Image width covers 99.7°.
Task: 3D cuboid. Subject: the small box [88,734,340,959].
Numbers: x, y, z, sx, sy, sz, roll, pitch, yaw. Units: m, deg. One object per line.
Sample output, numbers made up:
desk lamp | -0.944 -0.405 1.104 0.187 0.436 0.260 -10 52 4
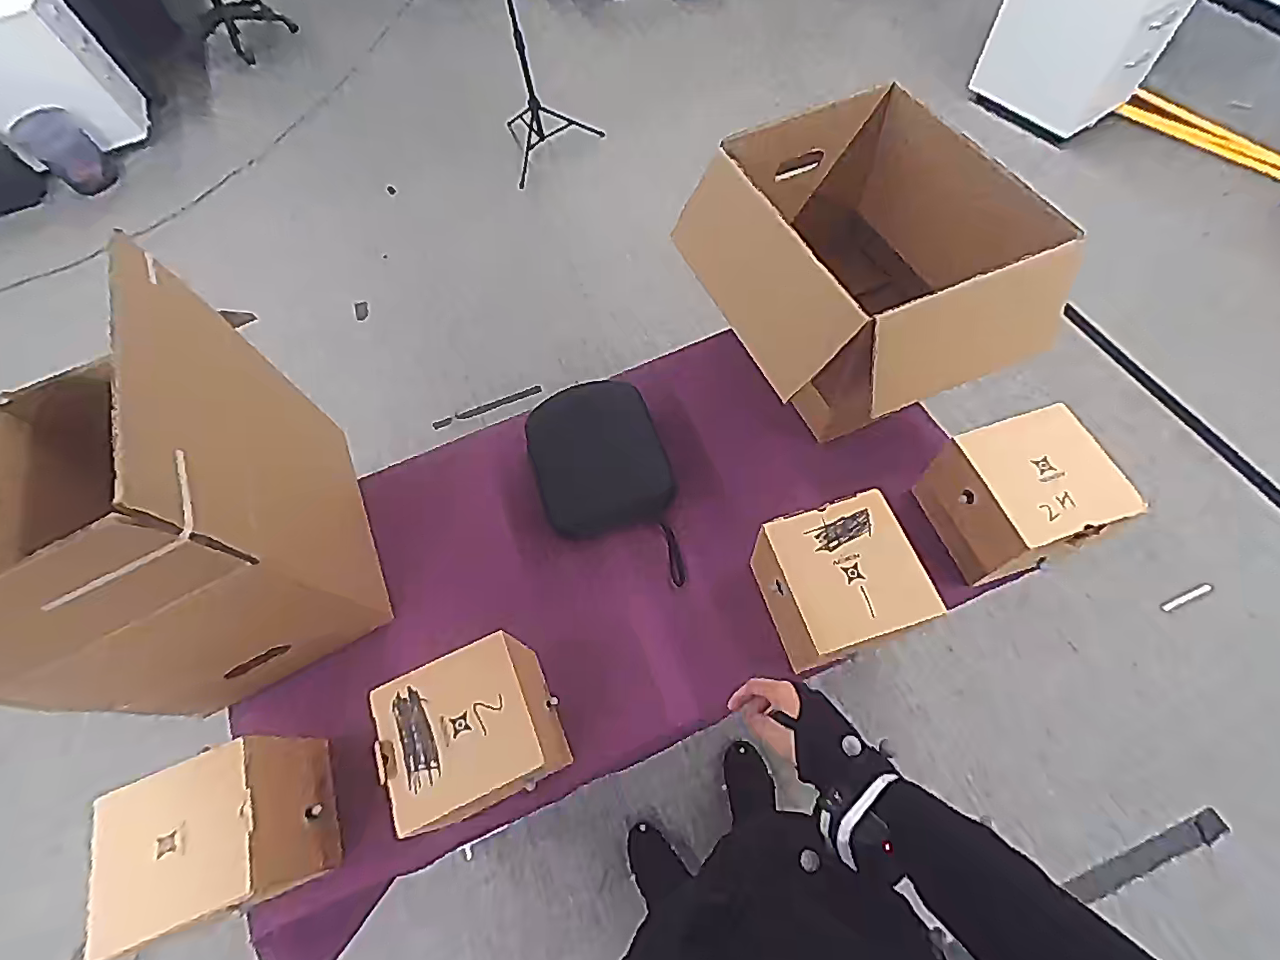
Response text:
small box | -0.512 0.438 0.673 0.179 0.176 0.168 -22 63 -7

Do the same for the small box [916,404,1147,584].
small box | 0.532 0.026 0.770 0.168 0.176 0.179 -17 63 -2
